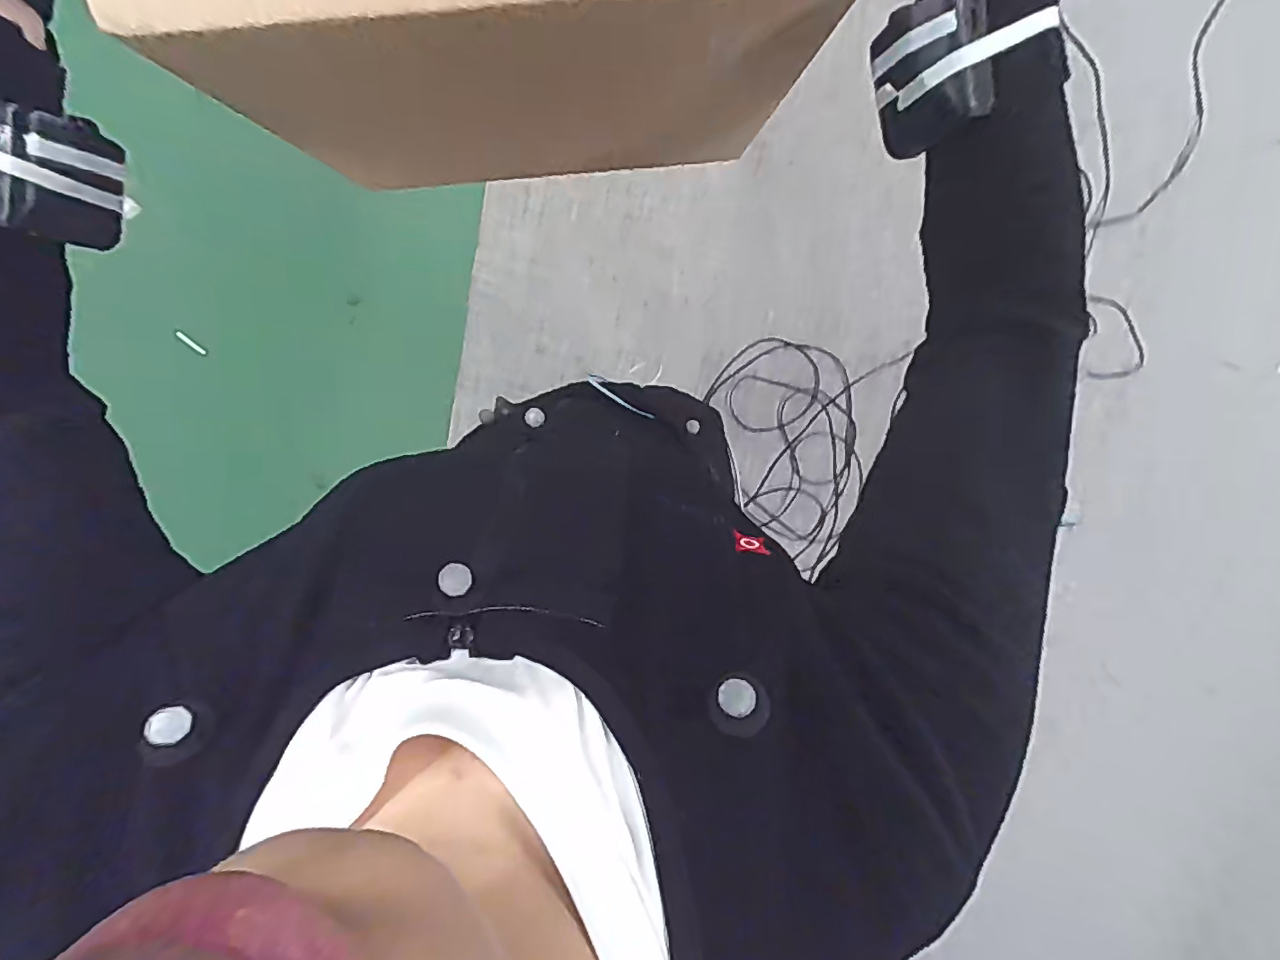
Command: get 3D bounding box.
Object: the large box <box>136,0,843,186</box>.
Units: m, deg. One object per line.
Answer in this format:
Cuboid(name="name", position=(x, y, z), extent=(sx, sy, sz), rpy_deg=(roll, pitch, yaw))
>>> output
Cuboid(name="large box", position=(-0.091, -0.442, 0.398), extent=(0.408, 0.320, 0.320), rpy_deg=(-6, 105, -3))
